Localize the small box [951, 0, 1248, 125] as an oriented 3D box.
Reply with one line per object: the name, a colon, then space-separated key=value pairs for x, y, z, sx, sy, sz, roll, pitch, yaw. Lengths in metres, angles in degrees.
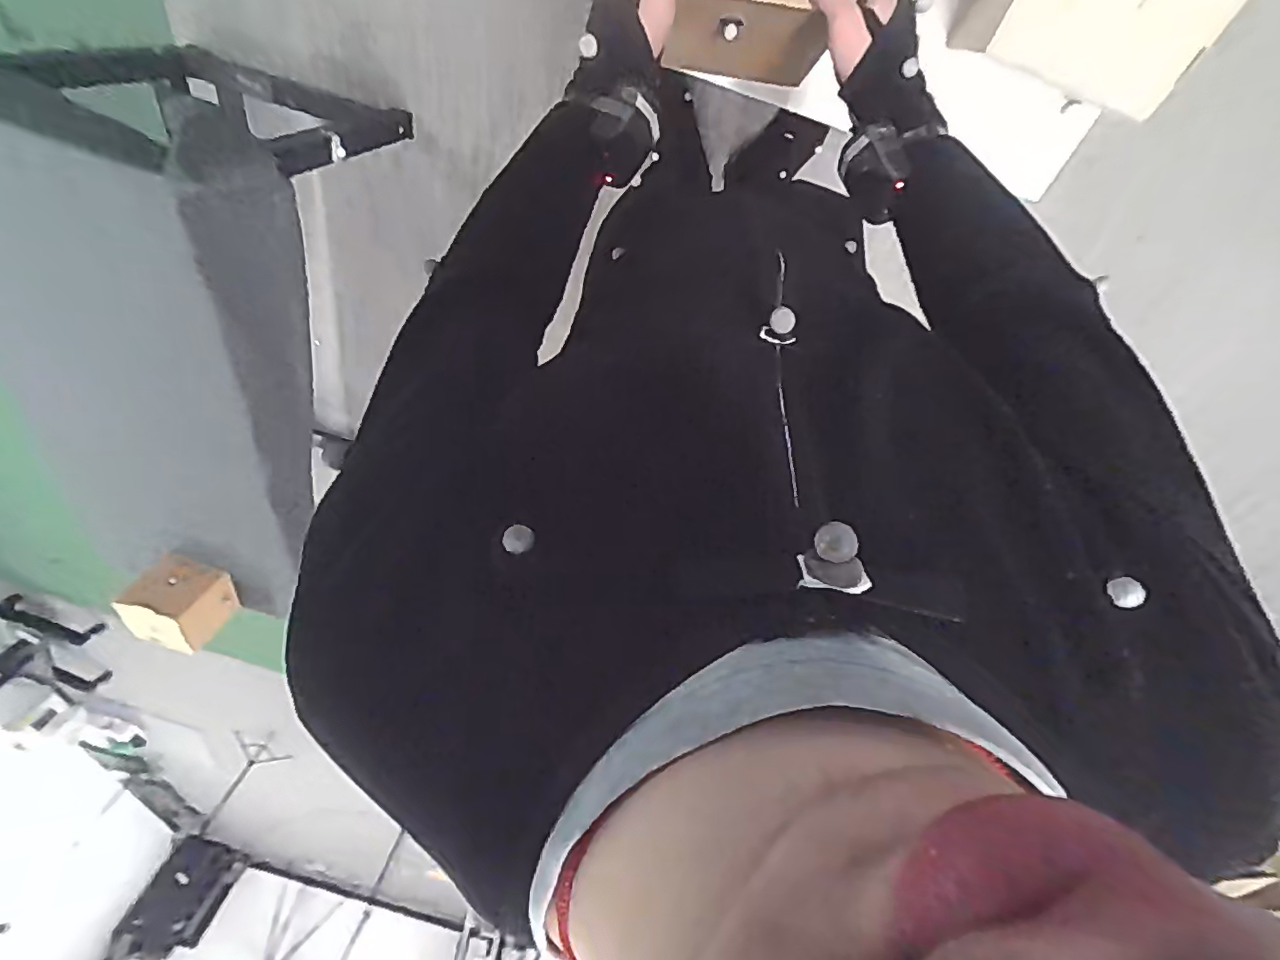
small box: x=0.440 y=-0.472 z=0.515 sx=0.179 sy=0.176 sz=0.168 roll=21 pitch=131 yaw=-2

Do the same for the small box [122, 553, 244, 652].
small box: x=-1.212 y=0.324 z=1.450 sx=0.168 sy=0.176 sz=0.179 roll=20 pitch=130 yaw=-2

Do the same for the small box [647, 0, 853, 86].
small box: x=0.102 y=-0.501 z=0.506 sx=0.179 sy=0.176 sz=0.168 roll=6 pitch=108 yaw=-3
